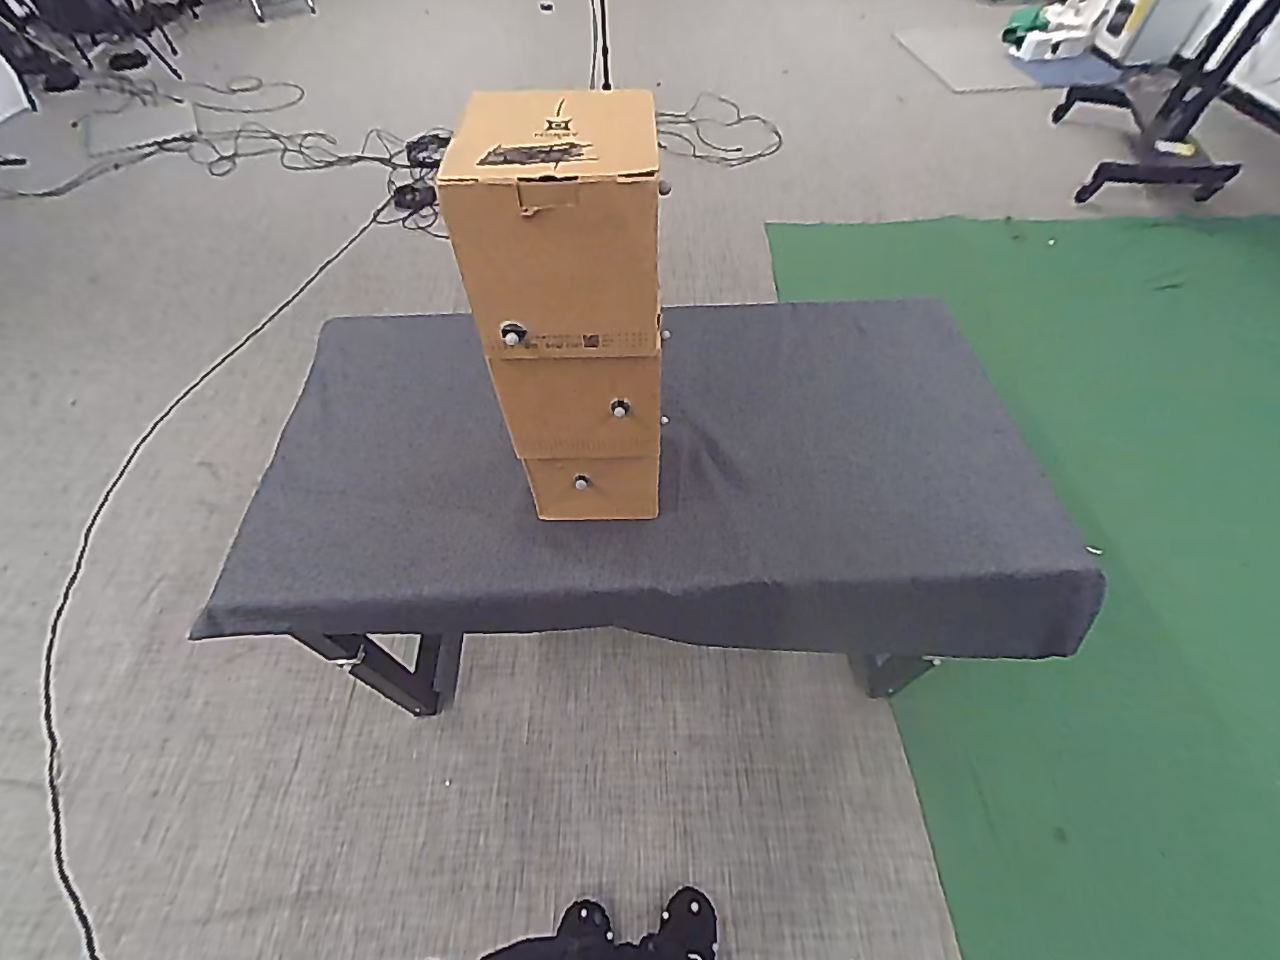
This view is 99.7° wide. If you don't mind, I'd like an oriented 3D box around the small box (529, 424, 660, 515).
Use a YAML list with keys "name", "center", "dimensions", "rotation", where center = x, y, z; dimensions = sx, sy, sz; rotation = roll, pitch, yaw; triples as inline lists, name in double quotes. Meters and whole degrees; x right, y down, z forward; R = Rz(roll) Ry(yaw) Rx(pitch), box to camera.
- name: "small box"
  center: [-0.063, -0.060, 0.791]
  dimensions: [0.179, 0.176, 0.168]
  rotation: [-3, 53, -2]

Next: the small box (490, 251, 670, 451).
- name: "small box"
  center: [-0.064, -0.149, 0.632]
  dimensions: [0.179, 0.176, 0.168]
  rotation: [-3, 54, -3]

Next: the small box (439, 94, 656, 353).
- name: "small box"
  center: [-0.069, -0.236, 0.512]
  dimensions: [0.168, 0.176, 0.179]
  rotation: [-1, 53, 0]
